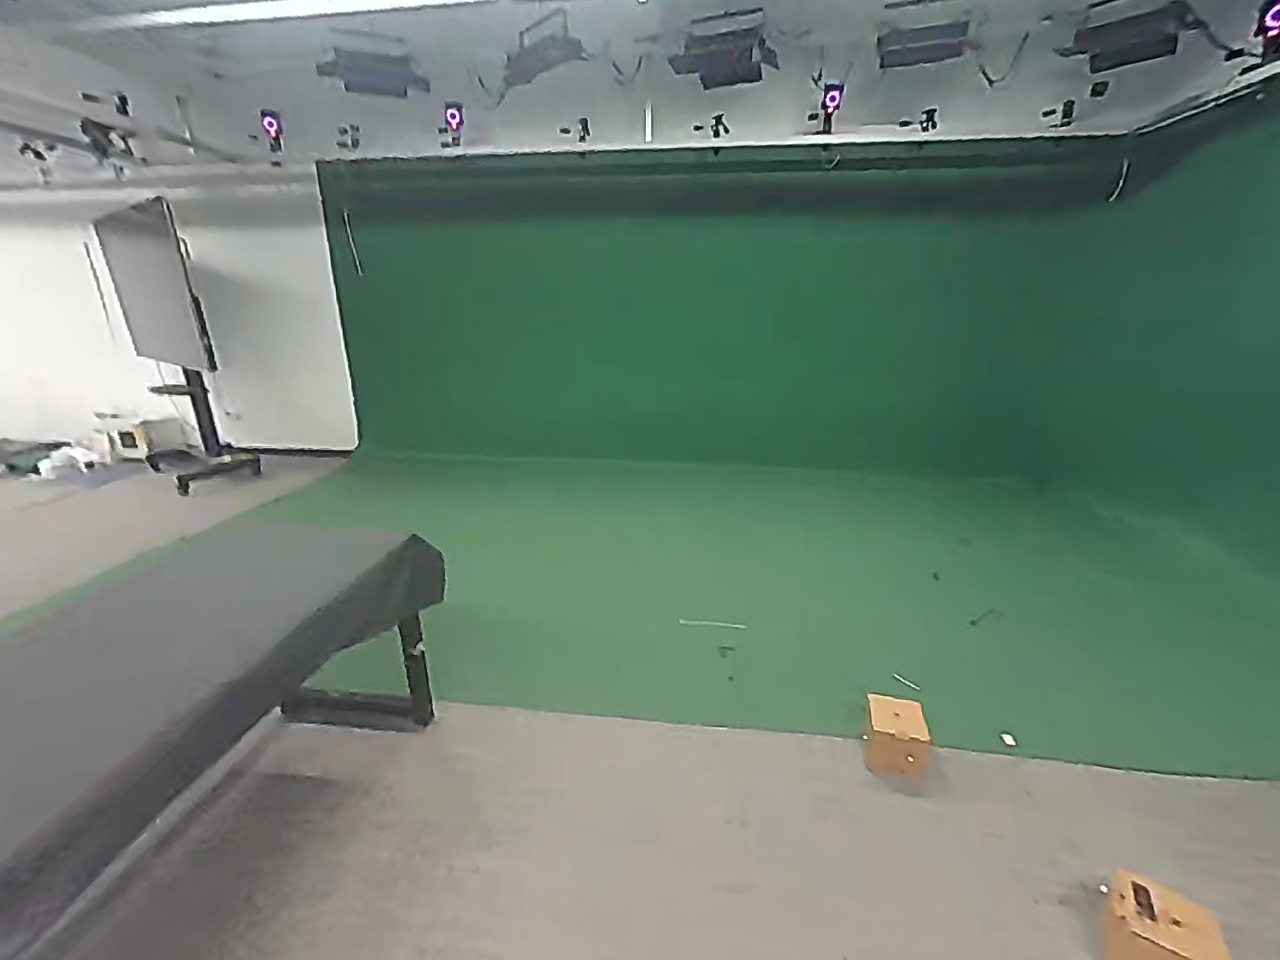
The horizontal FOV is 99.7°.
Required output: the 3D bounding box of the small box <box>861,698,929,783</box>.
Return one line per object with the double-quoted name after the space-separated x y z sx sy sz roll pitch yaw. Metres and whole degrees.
0.834 0.858 1.783 0.168 0.176 0.179 6 18 14 "small box"
